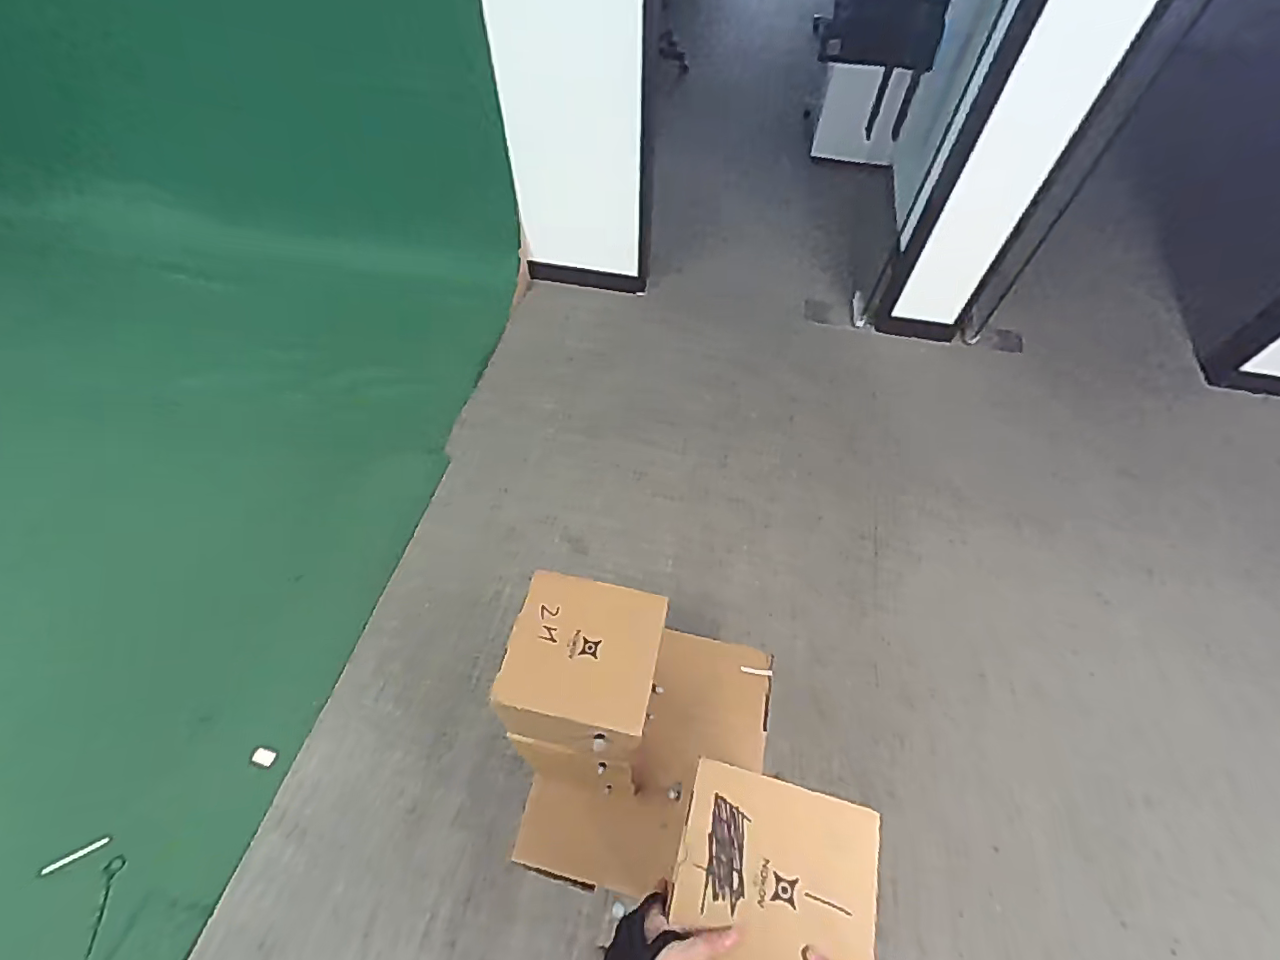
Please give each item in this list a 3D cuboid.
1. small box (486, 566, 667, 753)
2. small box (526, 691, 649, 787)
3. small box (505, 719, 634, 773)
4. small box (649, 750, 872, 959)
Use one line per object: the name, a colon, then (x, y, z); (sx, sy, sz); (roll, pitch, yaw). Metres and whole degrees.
small box: (-0.071, 0.237, 0.697); (0.179, 0.176, 0.168); (12, 54, 6)
small box: (-0.084, 0.432, 0.960); (0.179, 0.176, 0.168); (9, 54, 5)
small box: (-0.086, 0.335, 0.830); (0.179, 0.176, 0.168); (11, 54, 5)
small box: (0.111, 0.392, 0.543); (0.179, 0.176, 0.168); (14, 60, 7)
